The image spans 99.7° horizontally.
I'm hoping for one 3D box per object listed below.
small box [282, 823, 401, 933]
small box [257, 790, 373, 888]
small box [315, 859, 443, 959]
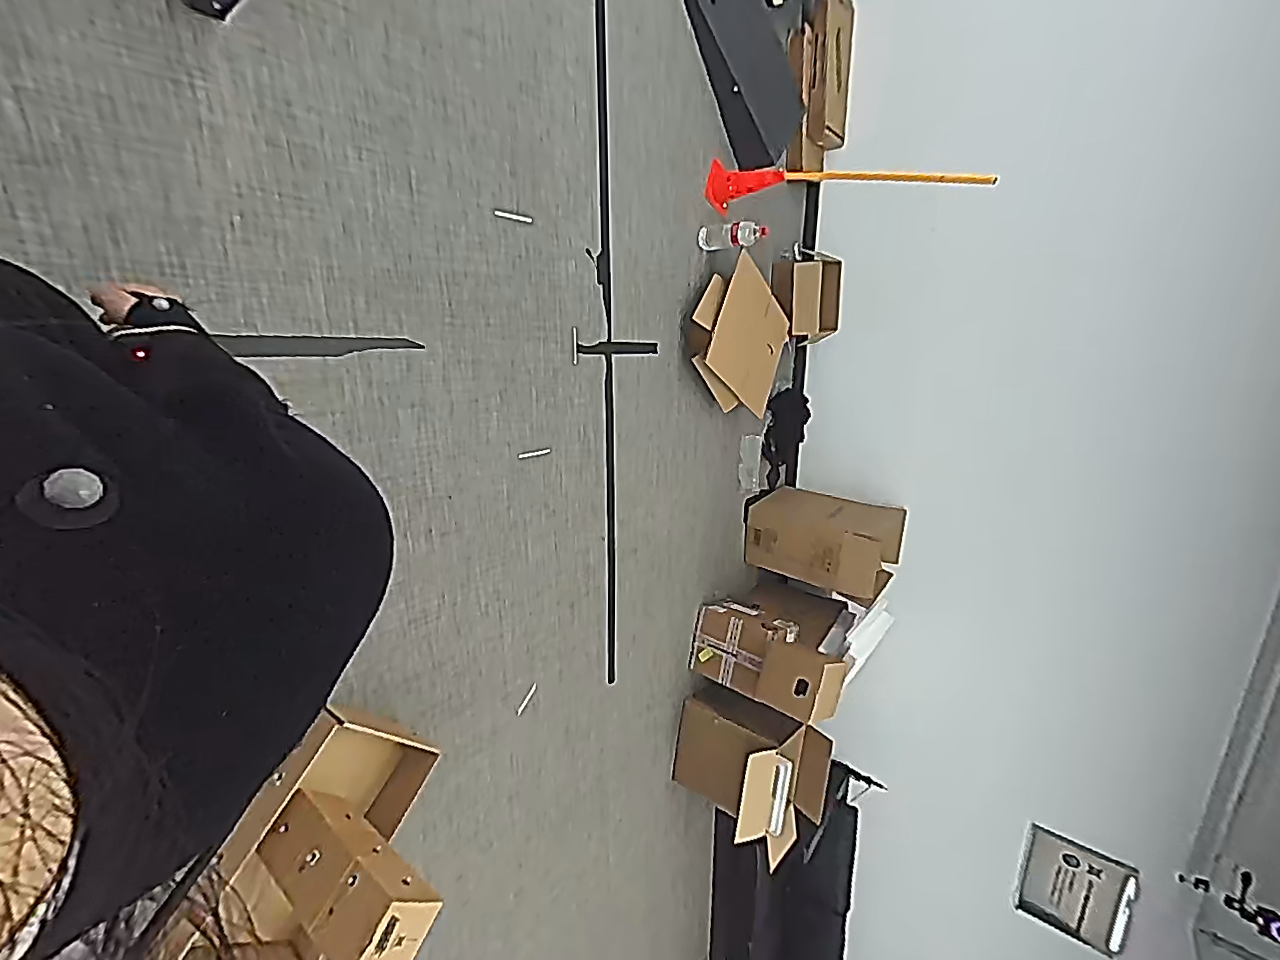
[{"bbox_3d":[-0.749,1.000,1.366,0.168,0.176,0.179,-61,140,-24],"label":"small box"},{"bbox_3d":[-0.877,0.971,1.461,0.168,0.176,0.179,-59,140,-25],"label":"small box"},{"bbox_3d":[-0.616,1.029,1.274,0.168,0.176,0.179,-61,142,-23],"label":"small box"}]
